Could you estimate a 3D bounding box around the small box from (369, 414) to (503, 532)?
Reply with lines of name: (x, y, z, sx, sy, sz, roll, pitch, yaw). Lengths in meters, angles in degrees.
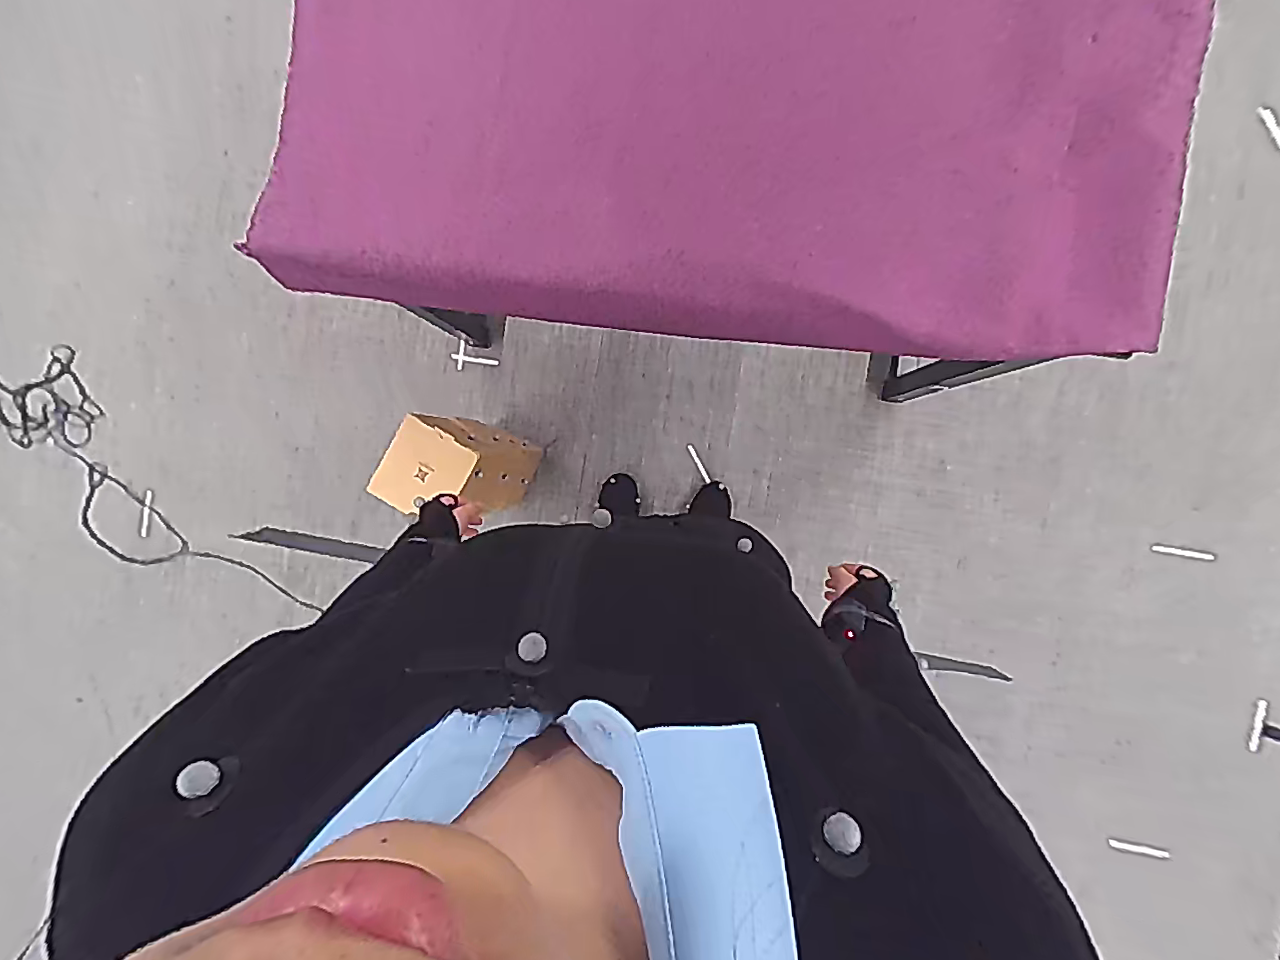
small box: (-0.407, -0.016, 1.111, 0.168, 0.176, 0.179, 30, 93, 2)

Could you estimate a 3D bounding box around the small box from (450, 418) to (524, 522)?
small box: (-0.393, -0.027, 1.274, 0.168, 0.176, 0.179, 37, 94, 2)
